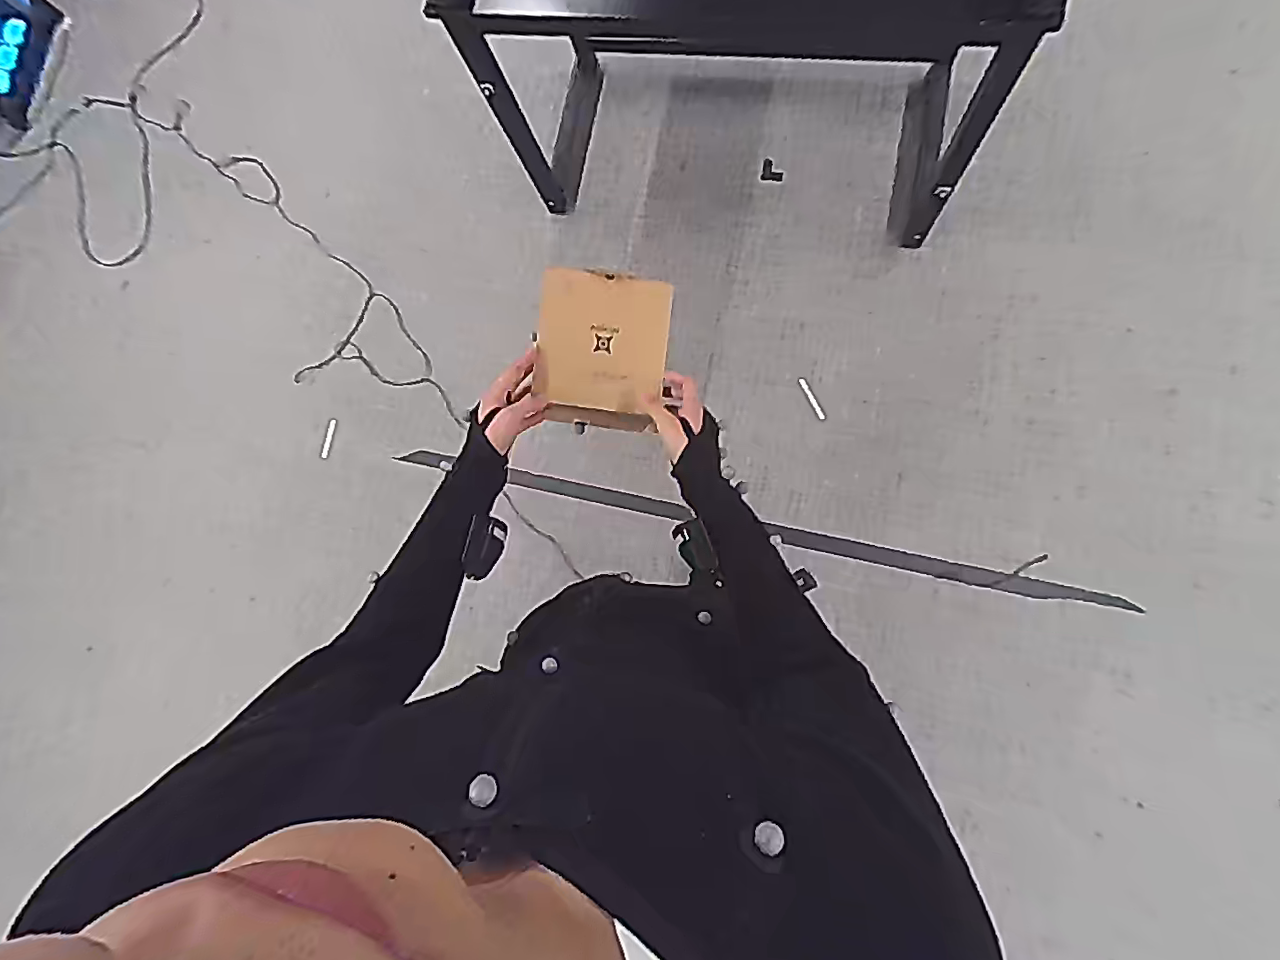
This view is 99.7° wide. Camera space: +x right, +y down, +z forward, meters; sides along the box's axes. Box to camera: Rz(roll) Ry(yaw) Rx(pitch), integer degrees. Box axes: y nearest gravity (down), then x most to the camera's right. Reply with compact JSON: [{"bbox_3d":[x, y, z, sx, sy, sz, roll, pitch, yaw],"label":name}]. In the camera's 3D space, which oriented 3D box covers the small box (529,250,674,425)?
[{"bbox_3d":[-0.056,-0.181,0.738,0.168,0.176,0.179,6,87,-7],"label":"small box"}]
